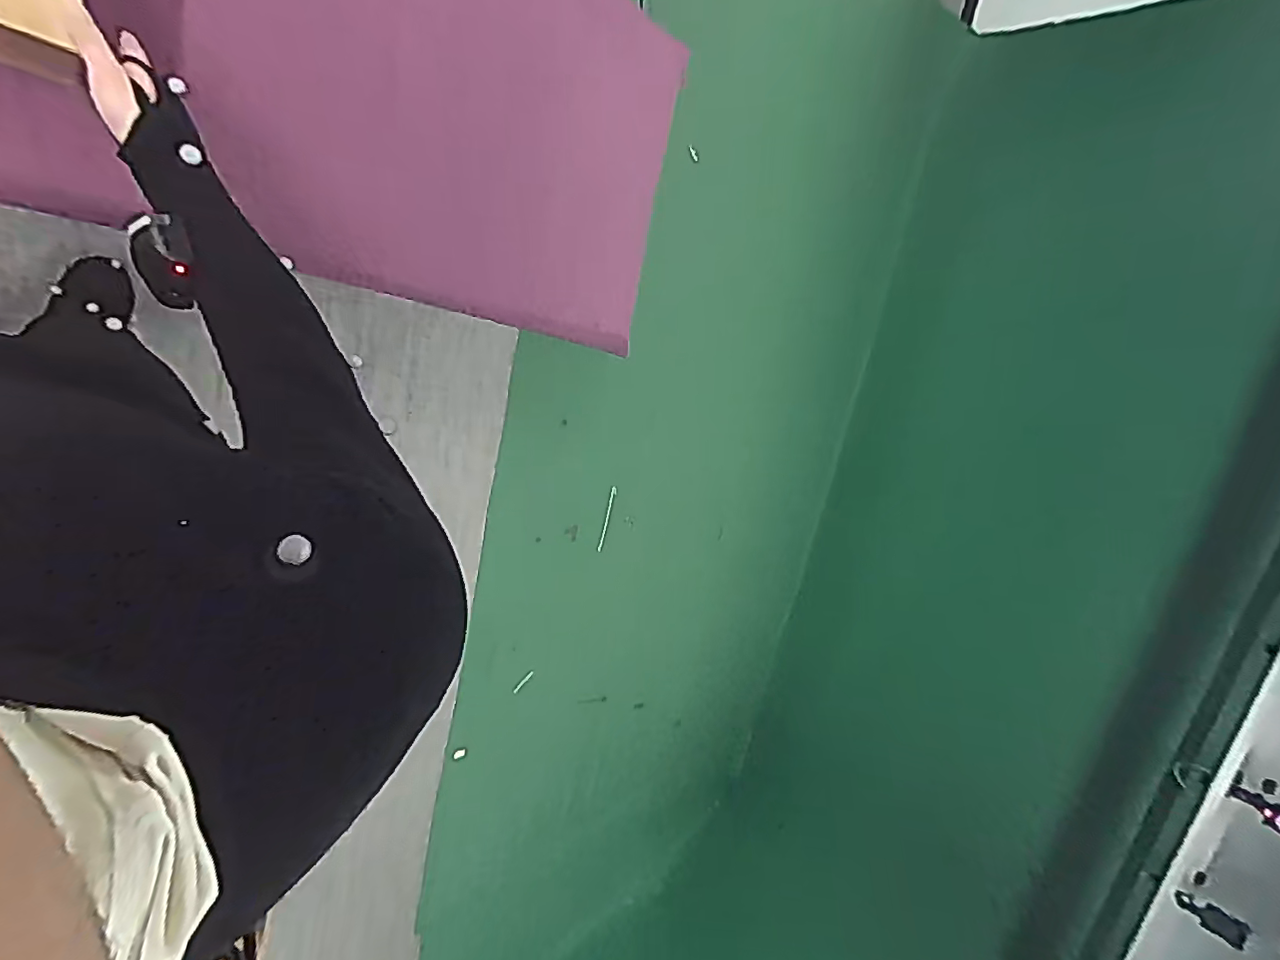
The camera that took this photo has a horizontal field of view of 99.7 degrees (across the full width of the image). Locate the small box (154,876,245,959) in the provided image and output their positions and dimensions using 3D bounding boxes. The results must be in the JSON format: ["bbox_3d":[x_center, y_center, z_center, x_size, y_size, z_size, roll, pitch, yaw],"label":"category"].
[{"bbox_3d":[-1.264,1.299,1.547,0.168,0.176,0.179,7,103,-50],"label":"small box"}]

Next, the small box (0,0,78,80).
[{"bbox_3d":[-0.581,-0.470,0.438,0.168,0.176,0.179,-3,110,-48],"label":"small box"}]

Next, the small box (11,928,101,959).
[{"bbox_3d":[-1.447,1.271,1.324,0.168,0.176,0.179,8,101,-50],"label":"small box"}]
